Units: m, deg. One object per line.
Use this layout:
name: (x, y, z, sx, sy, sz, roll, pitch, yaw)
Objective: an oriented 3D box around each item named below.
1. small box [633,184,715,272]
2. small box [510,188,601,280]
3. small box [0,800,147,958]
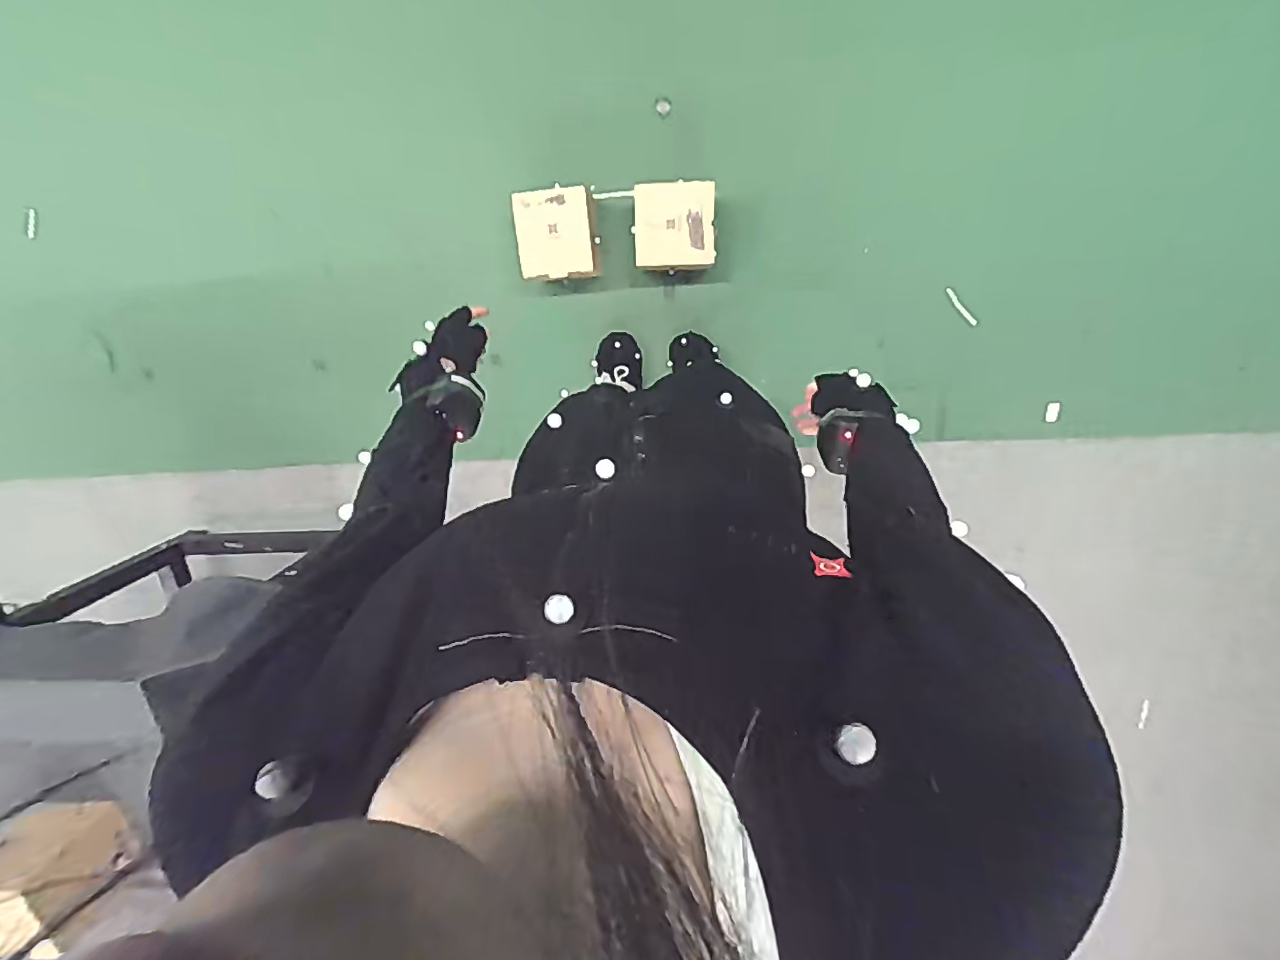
small box: (0.076, -0.573, 1.242, 0.179, 0.176, 0.168, 0, 108, 4)
small box: (-0.189, -0.566, 1.262, 0.168, 0.176, 0.179, -3, 109, 5)
small box: (-1.062, 0.707, 0.971, 0.179, 0.176, 0.168, -5, 109, 5)
